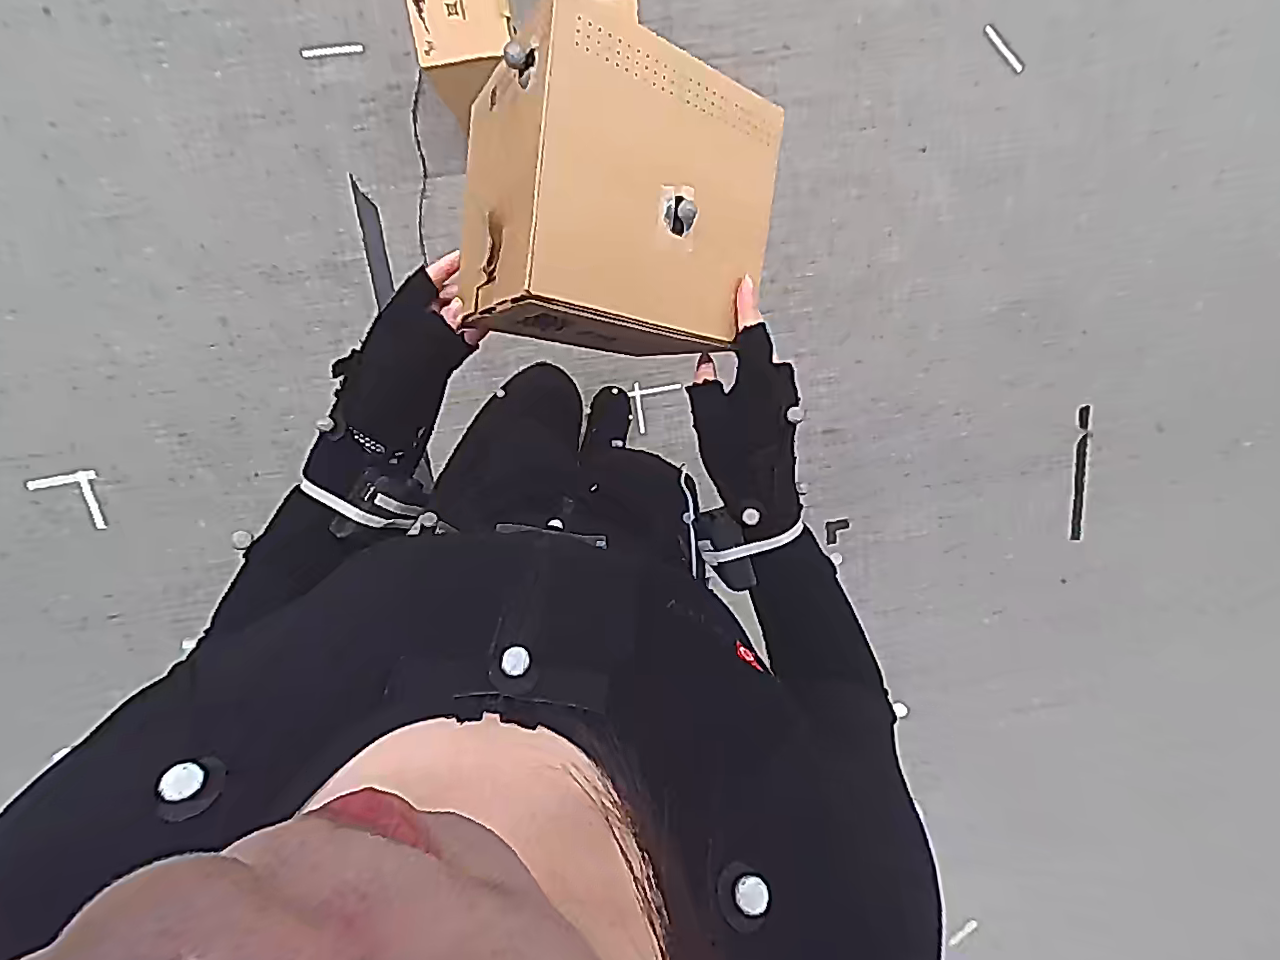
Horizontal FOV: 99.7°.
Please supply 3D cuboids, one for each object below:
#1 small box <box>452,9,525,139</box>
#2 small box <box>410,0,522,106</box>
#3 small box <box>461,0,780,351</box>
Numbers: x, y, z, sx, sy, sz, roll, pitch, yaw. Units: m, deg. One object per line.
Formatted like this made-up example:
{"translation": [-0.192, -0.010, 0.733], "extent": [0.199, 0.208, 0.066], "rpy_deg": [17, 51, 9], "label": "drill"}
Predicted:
{"translation": [-0.334, -0.896, 1.204], "extent": [0.168, 0.176, 0.179], "rpy_deg": [-7, 103, -1], "label": "small box"}
{"translation": [-0.326, -0.857, 1.044], "extent": [0.179, 0.176, 0.168], "rpy_deg": [-8, 102, -1], "label": "small box"}
{"translation": [-0.020, -0.200, 0.406], "extent": [0.179, 0.168, 0.176], "rpy_deg": [2, 98, -33], "label": "small box"}
